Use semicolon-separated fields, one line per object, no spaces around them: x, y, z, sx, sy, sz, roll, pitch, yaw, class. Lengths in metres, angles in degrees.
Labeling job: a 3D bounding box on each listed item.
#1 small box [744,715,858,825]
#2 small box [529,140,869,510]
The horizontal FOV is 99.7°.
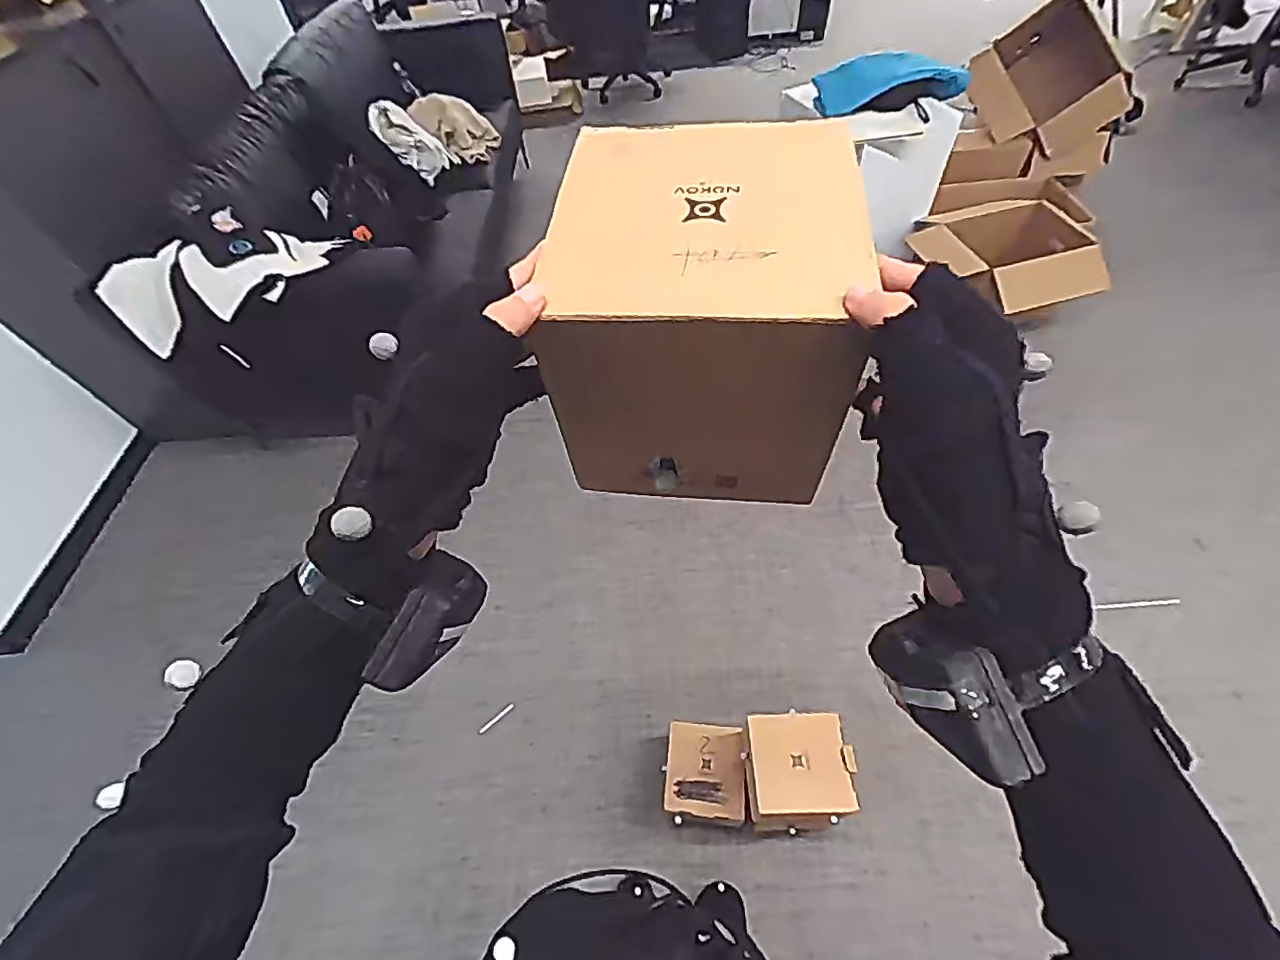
0.300;0.567;1.054;0.179;0.176;0.168;-4;53;3;small box
0.040;-0.099;0.368;0.168;0.176;0.179;3;58;7;small box
